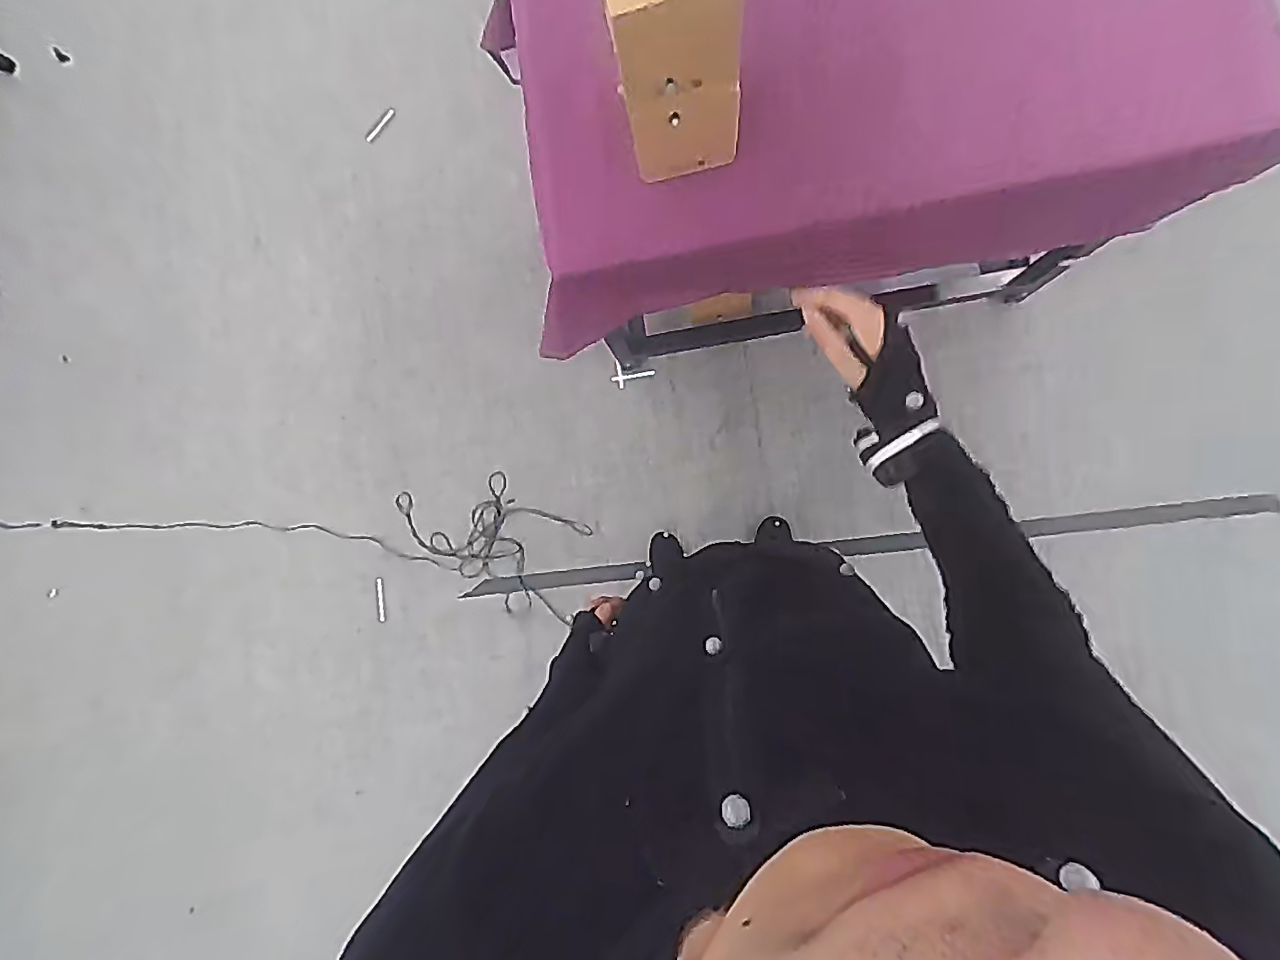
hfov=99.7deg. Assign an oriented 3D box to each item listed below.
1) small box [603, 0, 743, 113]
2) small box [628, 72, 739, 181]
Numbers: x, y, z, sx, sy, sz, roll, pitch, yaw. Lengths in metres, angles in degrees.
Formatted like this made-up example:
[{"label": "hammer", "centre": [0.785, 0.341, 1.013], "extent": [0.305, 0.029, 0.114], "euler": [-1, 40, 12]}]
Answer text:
[{"label": "small box", "centre": [0.035, -0.643, 0.718], "extent": [0.168, 0.176, 0.179], "euler": [-12, 85, 6]}, {"label": "small box", "centre": [0.061, -0.631, 0.879], "extent": [0.168, 0.176, 0.179], "euler": [-10, 85, 7]}]
